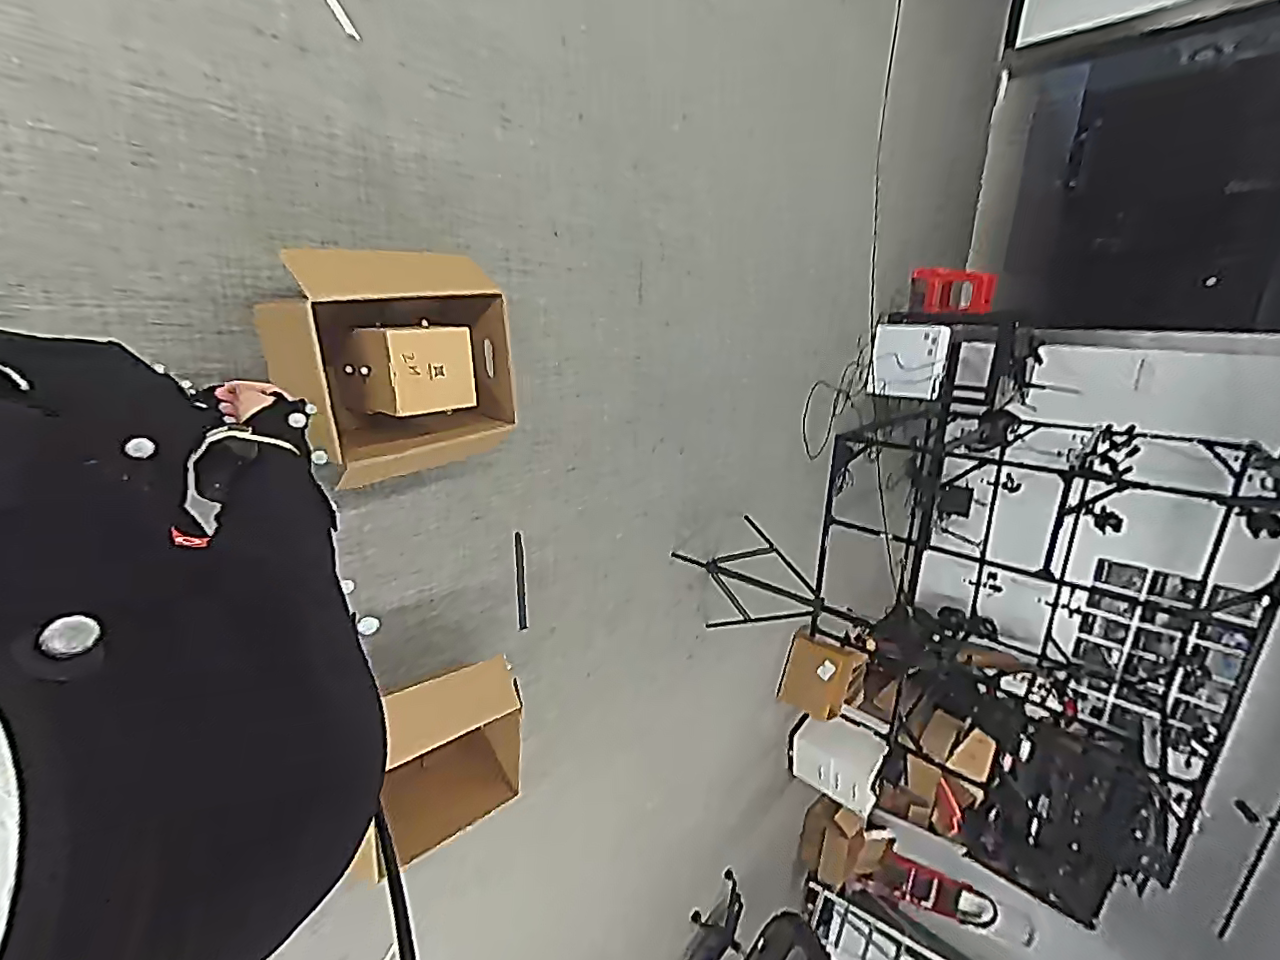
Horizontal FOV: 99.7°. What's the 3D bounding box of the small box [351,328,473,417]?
[{"bbox_3d":[-0.480,-0.235,1.145,0.179,0.176,0.168,-18,115,-44],"label":"small box"}]
